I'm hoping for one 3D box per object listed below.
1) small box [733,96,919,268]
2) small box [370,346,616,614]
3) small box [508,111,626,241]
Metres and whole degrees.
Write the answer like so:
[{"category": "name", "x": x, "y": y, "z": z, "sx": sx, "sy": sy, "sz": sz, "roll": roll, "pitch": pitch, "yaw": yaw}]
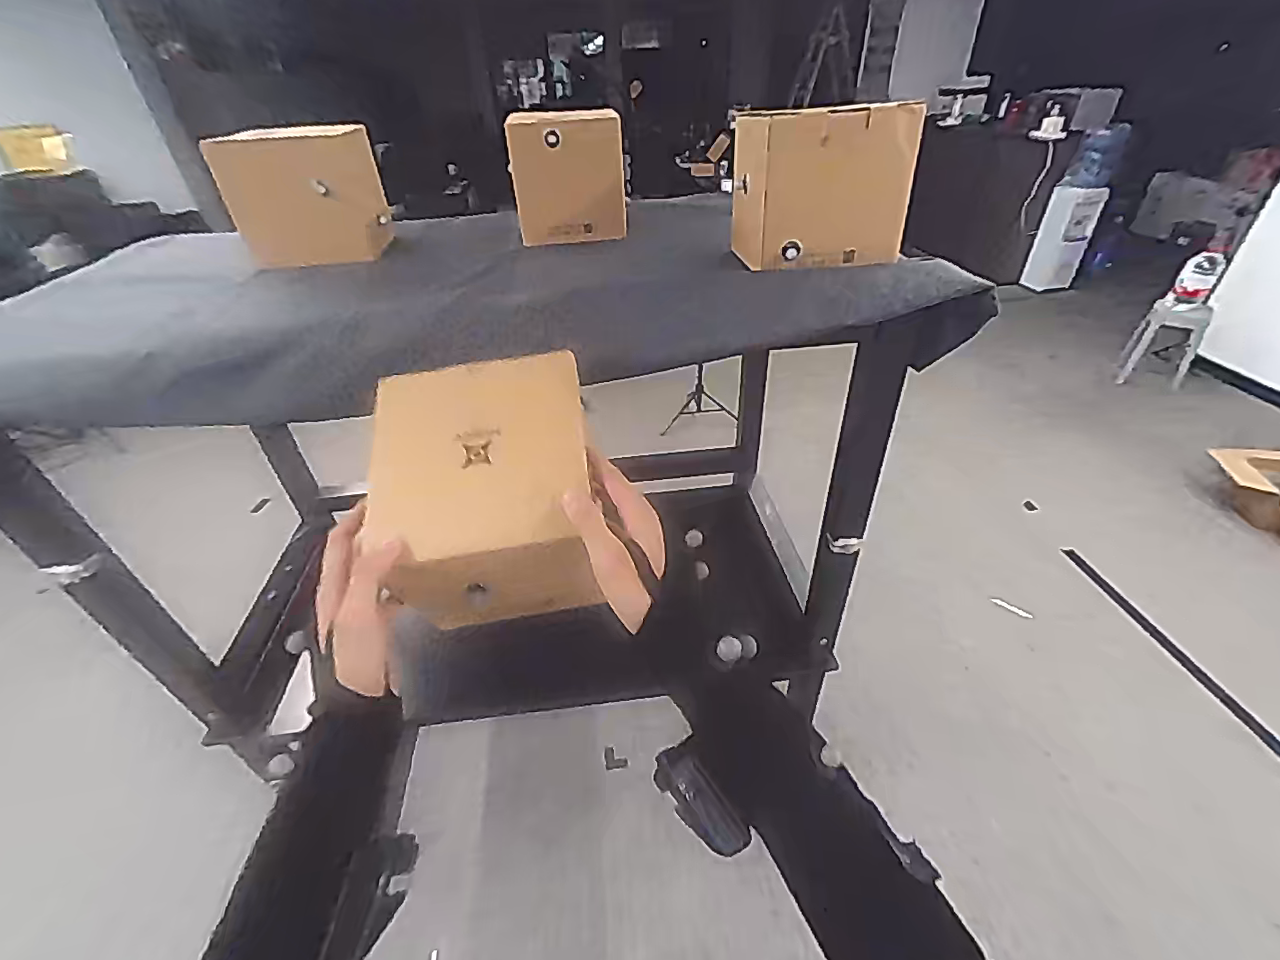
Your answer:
[{"category": "small box", "x": 0.214, "y": -0.367, "z": 0.675, "sx": 0.168, "sy": 0.176, "sz": 0.179, "roll": -5, "pitch": 33, "yaw": -1}, {"category": "small box", "x": -0.117, "y": 0.011, "z": 0.488, "sx": 0.168, "sy": 0.176, "sz": 0.179, "roll": -9, "pitch": 59, "yaw": -3}, {"category": "small box", "x": -0.114, "y": -0.498, "z": 0.886, "sx": 0.168, "sy": 0.176, "sz": 0.179, "roll": -6, "pitch": 36, "yaw": -4}]
